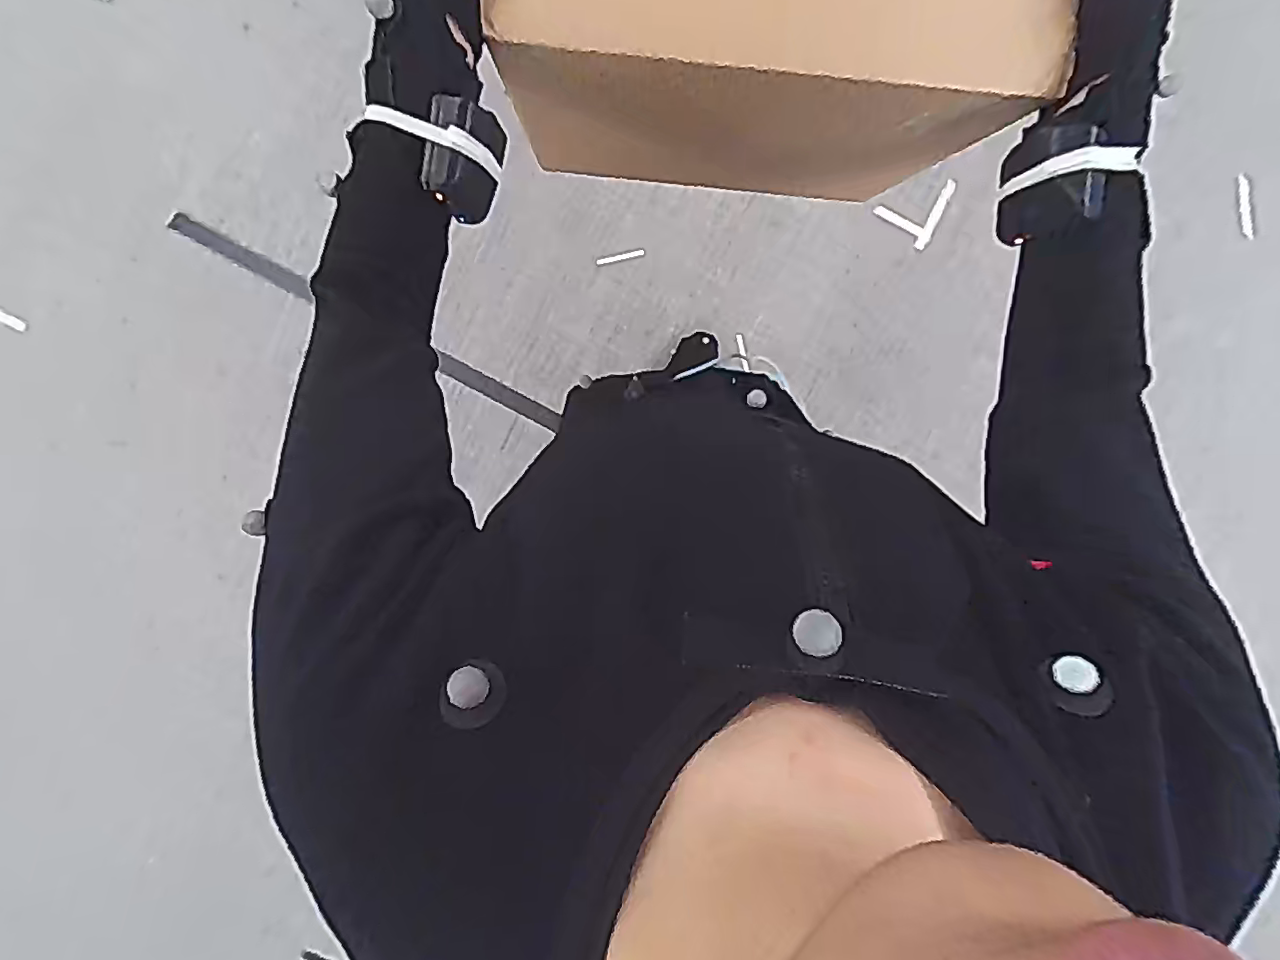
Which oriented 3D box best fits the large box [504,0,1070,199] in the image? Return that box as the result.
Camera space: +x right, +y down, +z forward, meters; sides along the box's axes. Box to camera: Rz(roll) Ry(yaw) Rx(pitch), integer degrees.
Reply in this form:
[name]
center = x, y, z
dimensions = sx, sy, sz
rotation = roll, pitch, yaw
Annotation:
[large box]
center = 0.104, -0.473, 0.489
dimensions = 0.408, 0.320, 0.320
rotation = 4, 105, -5
